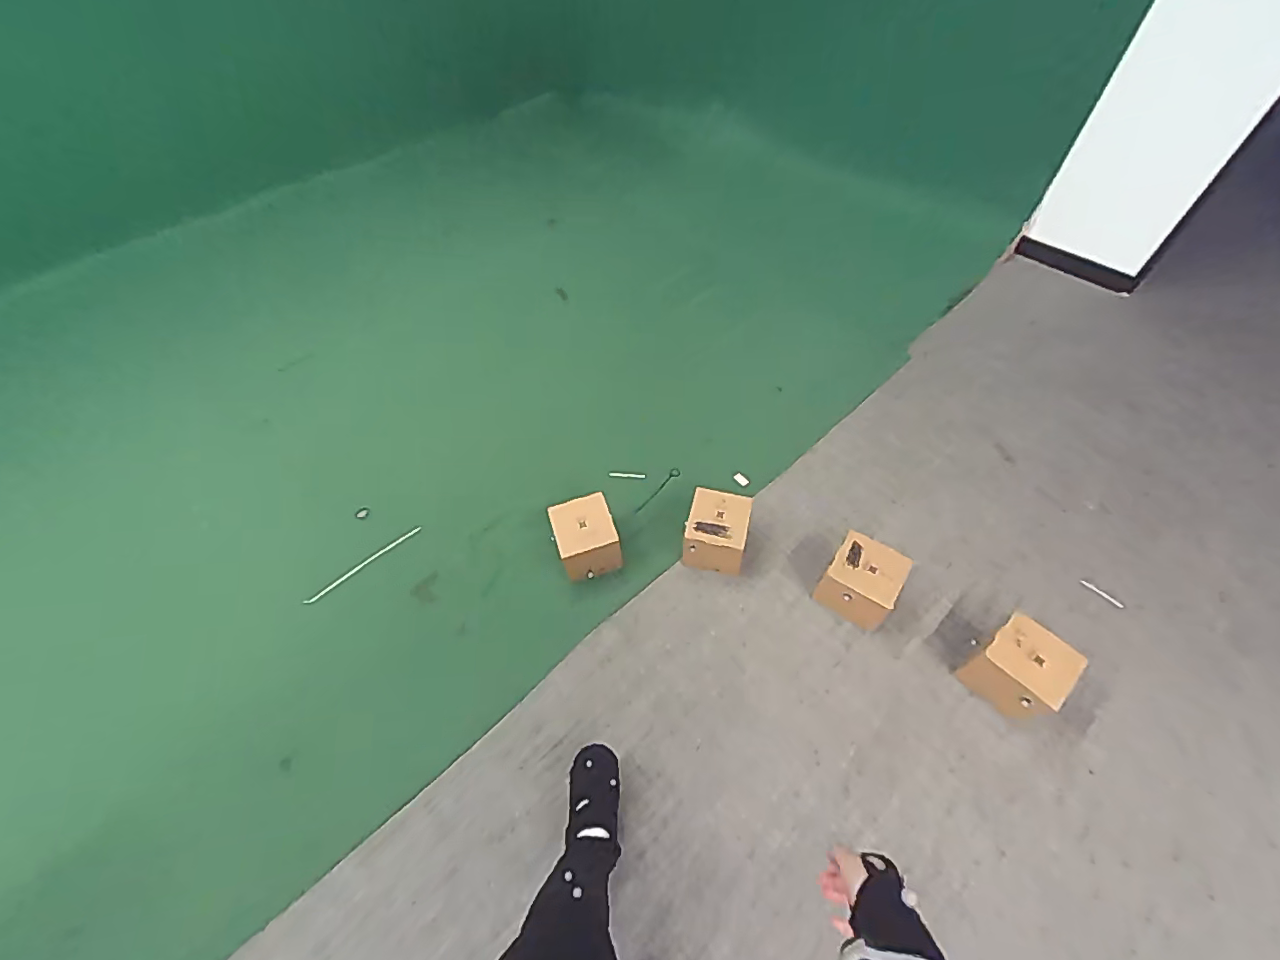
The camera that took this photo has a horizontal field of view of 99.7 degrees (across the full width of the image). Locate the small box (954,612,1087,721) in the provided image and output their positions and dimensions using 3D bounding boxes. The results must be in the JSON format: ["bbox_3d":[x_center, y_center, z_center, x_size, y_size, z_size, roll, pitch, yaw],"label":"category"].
[{"bbox_3d":[0.918,0.461,1.318,0.168,0.176,0.179,-37,61,-22],"label":"small box"}]

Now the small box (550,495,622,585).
[{"bbox_3d":[-0.156,0.176,1.577,0.168,0.176,0.179,-16,55,-9],"label":"small box"}]

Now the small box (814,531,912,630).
[{"bbox_3d":[0.596,0.278,1.465,0.179,0.176,0.168,29,61,21],"label":"small box"}]
